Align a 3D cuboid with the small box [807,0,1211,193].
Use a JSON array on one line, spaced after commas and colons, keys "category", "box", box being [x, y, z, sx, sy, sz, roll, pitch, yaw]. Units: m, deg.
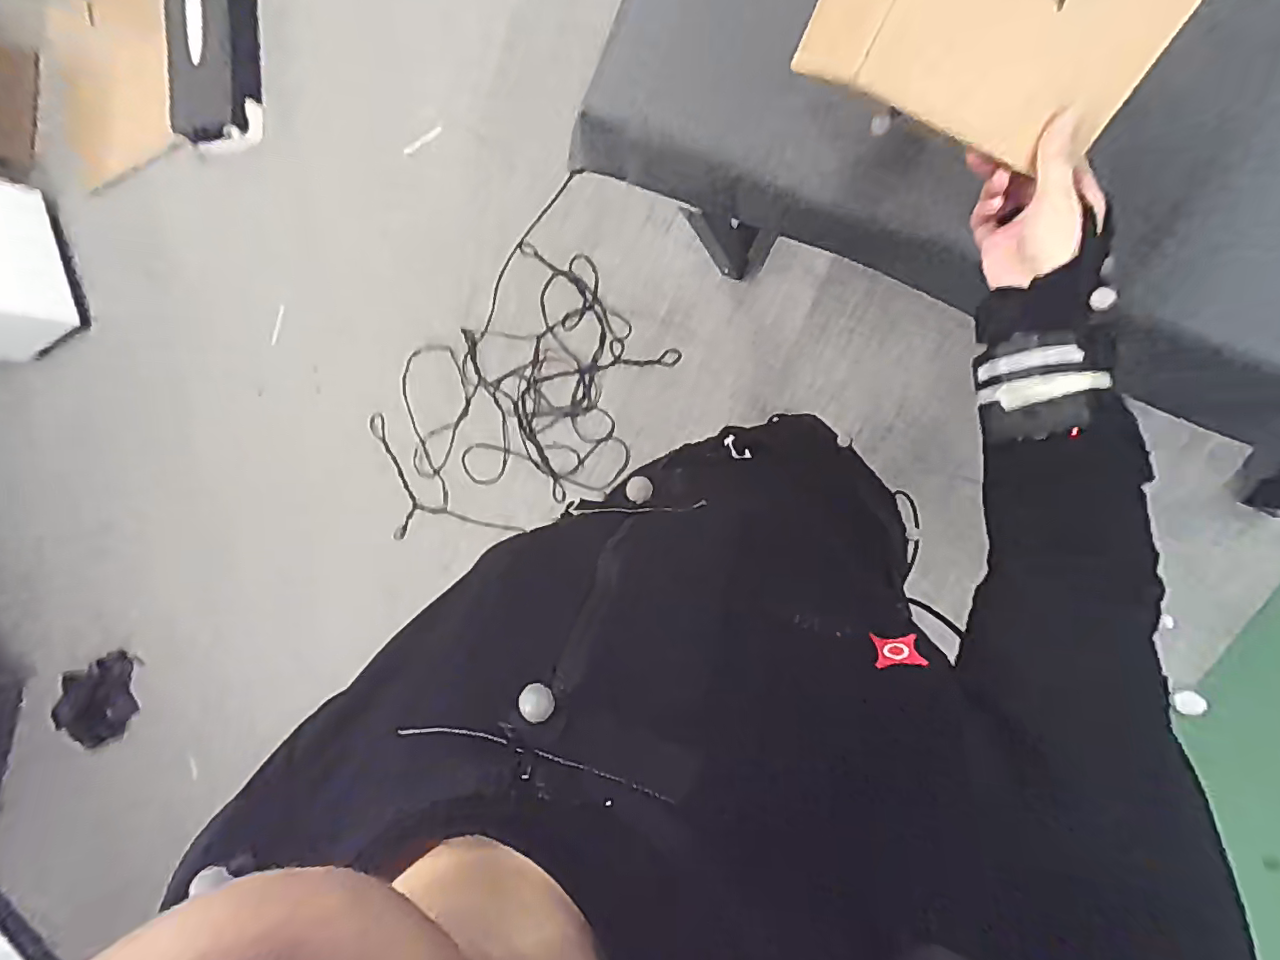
[{"category": "small box", "box": [0.230, -0.324, 0.354, 0.168, 0.176, 0.179, 15, 126, -13]}]
